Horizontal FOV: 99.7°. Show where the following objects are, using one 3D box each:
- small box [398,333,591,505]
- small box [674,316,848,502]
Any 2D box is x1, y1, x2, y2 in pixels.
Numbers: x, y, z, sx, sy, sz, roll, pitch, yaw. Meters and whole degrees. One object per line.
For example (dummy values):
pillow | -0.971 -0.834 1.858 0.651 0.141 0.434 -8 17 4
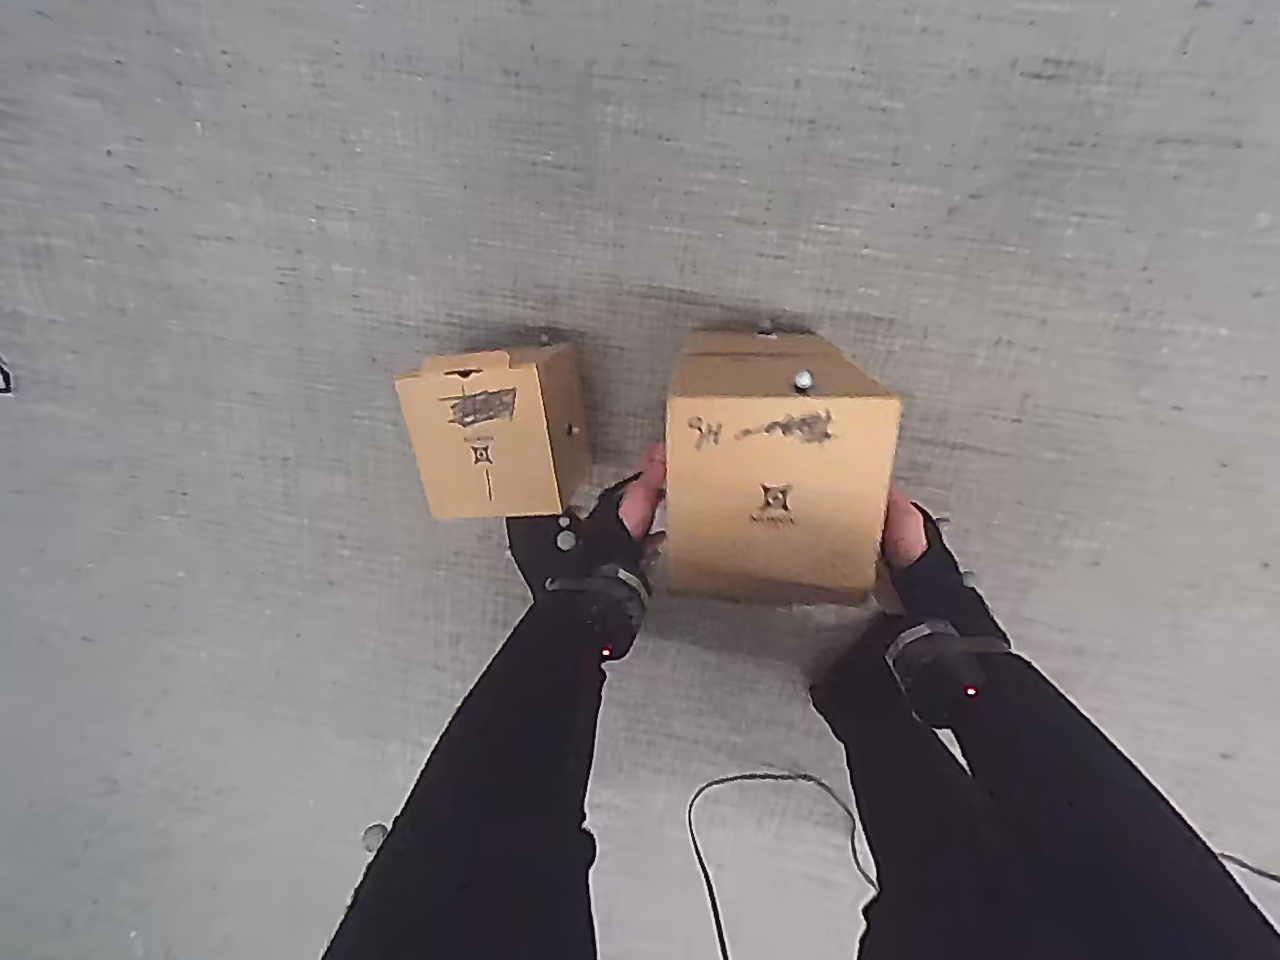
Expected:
small box | -0.166 -0.084 0.678 0.168 0.176 0.179 -2 114 9
small box | 0.130 -0.091 0.634 0.168 0.176 0.179 2 112 6
